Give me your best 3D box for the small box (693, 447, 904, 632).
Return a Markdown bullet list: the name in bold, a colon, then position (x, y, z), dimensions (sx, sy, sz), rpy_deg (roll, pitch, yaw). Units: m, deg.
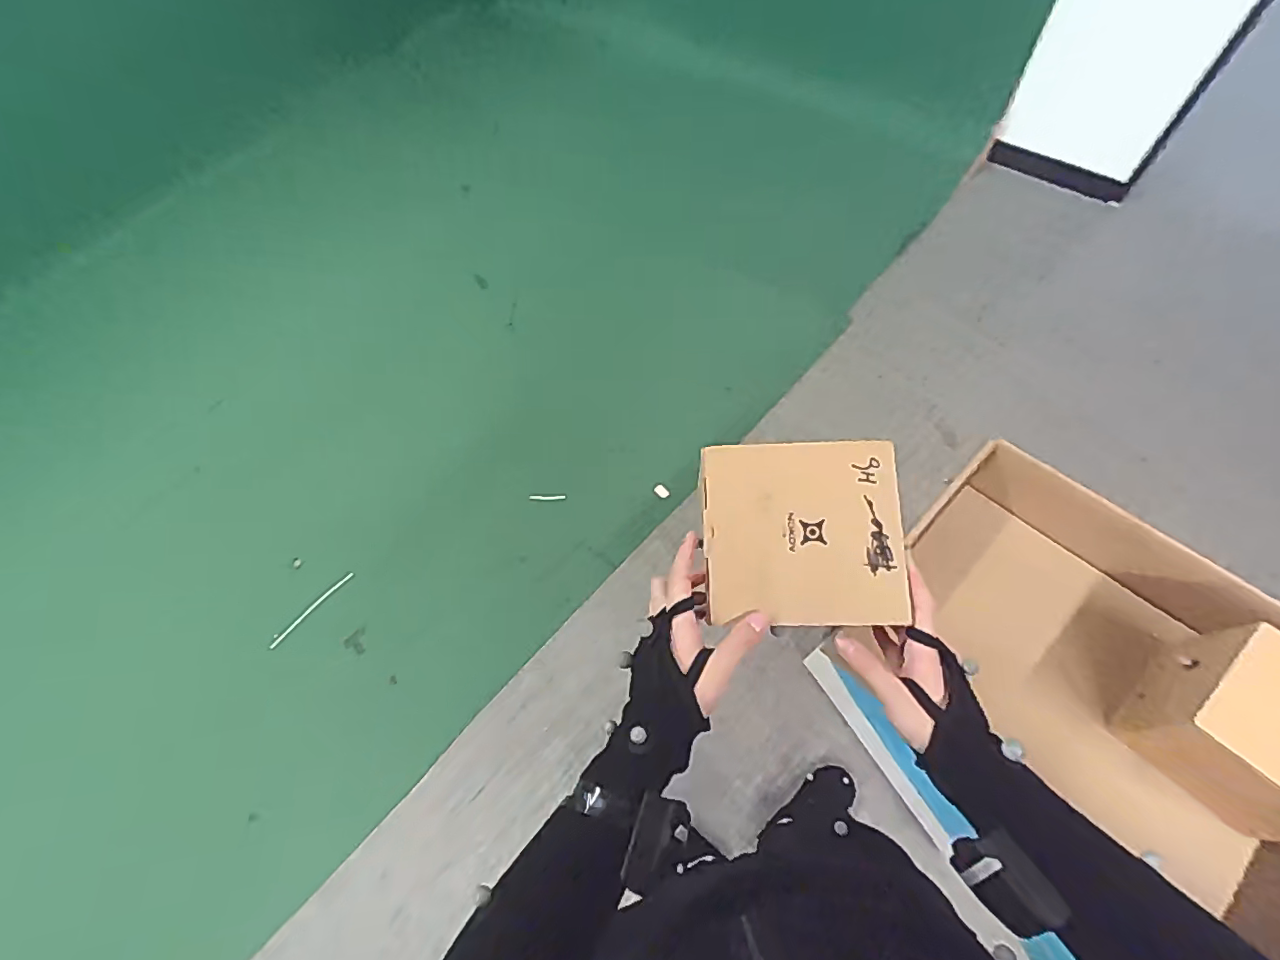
- **small box**: position (0.145, 0.069, 0.558), dimensions (0.179, 0.176, 0.168), rpy_deg (-2, 77, 5)
